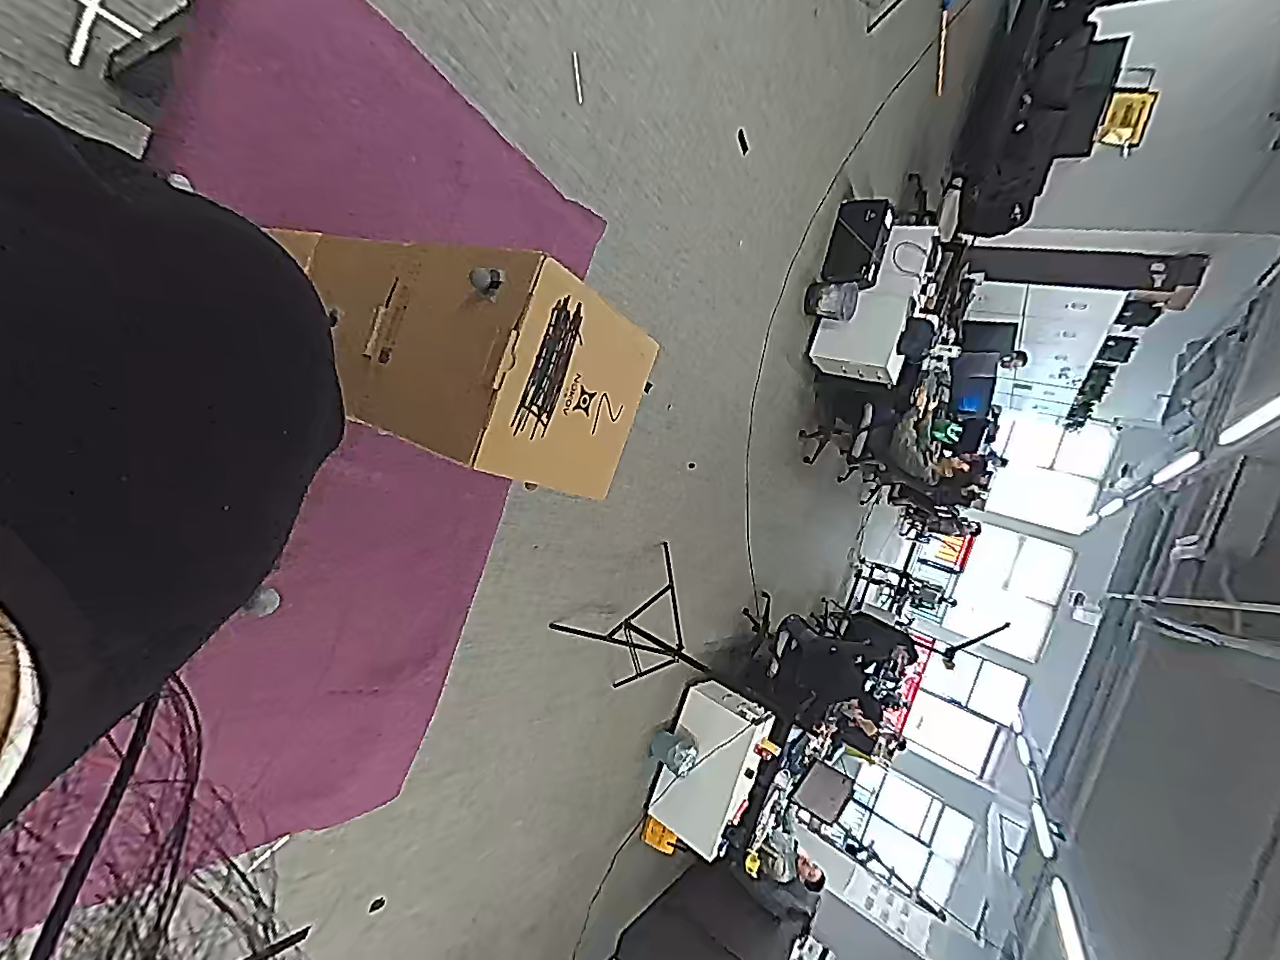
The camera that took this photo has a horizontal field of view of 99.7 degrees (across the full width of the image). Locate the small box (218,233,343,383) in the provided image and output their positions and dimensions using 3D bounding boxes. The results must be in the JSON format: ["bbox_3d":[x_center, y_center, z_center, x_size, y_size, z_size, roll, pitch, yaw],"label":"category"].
[{"bbox_3d":[-0.386,-0.189,0.682,0.179,0.176,0.168,20,89,-58],"label":"small box"}]

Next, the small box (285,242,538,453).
[{"bbox_3d":[-0.252,-0.143,0.599,0.179,0.176,0.168,16,93,-57],"label":"small box"}]
